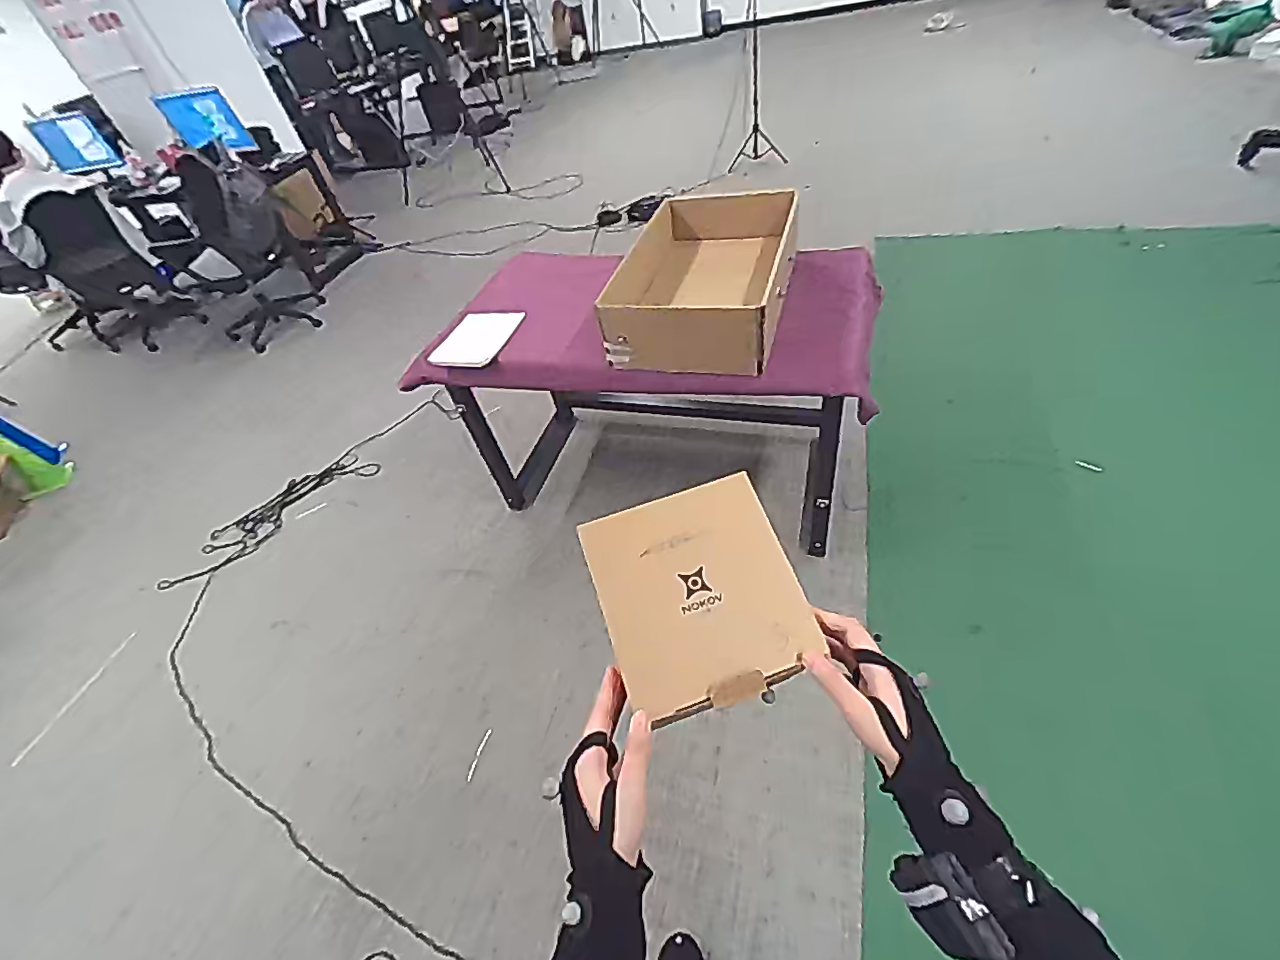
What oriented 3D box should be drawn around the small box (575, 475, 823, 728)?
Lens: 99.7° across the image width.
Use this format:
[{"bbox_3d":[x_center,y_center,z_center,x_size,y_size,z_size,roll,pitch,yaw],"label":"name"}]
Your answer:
[{"bbox_3d":[0.048,0.125,0.525,0.168,0.176,0.179,-17,64,-6],"label":"small box"}]
